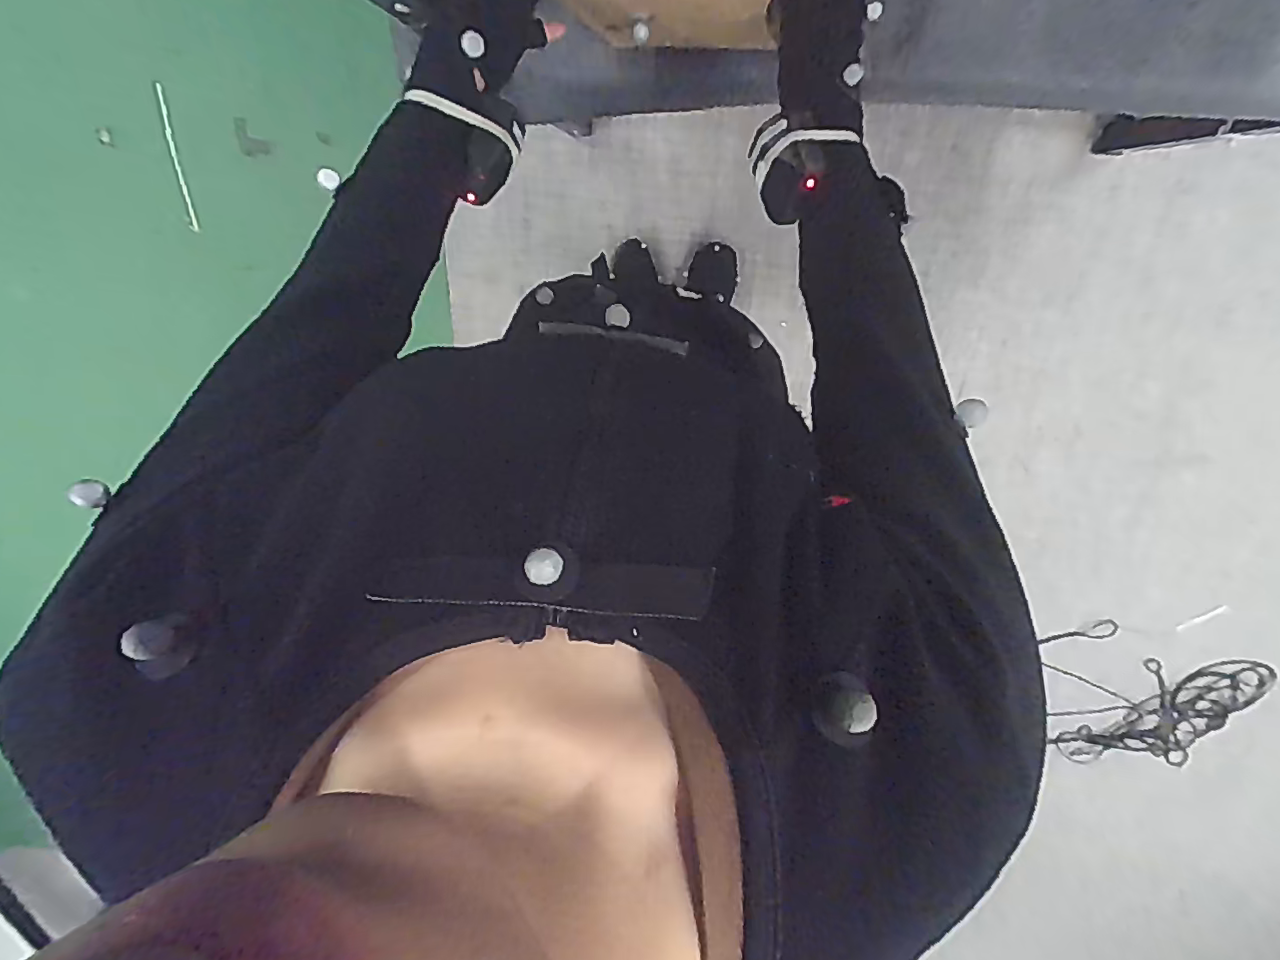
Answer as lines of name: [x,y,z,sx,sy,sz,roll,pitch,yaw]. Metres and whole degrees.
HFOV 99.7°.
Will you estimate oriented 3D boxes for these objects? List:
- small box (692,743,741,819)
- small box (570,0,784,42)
small box: [0.277,1.098,1.977,0.168,0.176,0.179,2,115,5]
small box: [0.032,-0.470,0.415,0.176,0.168,0.179,12,116,13]
